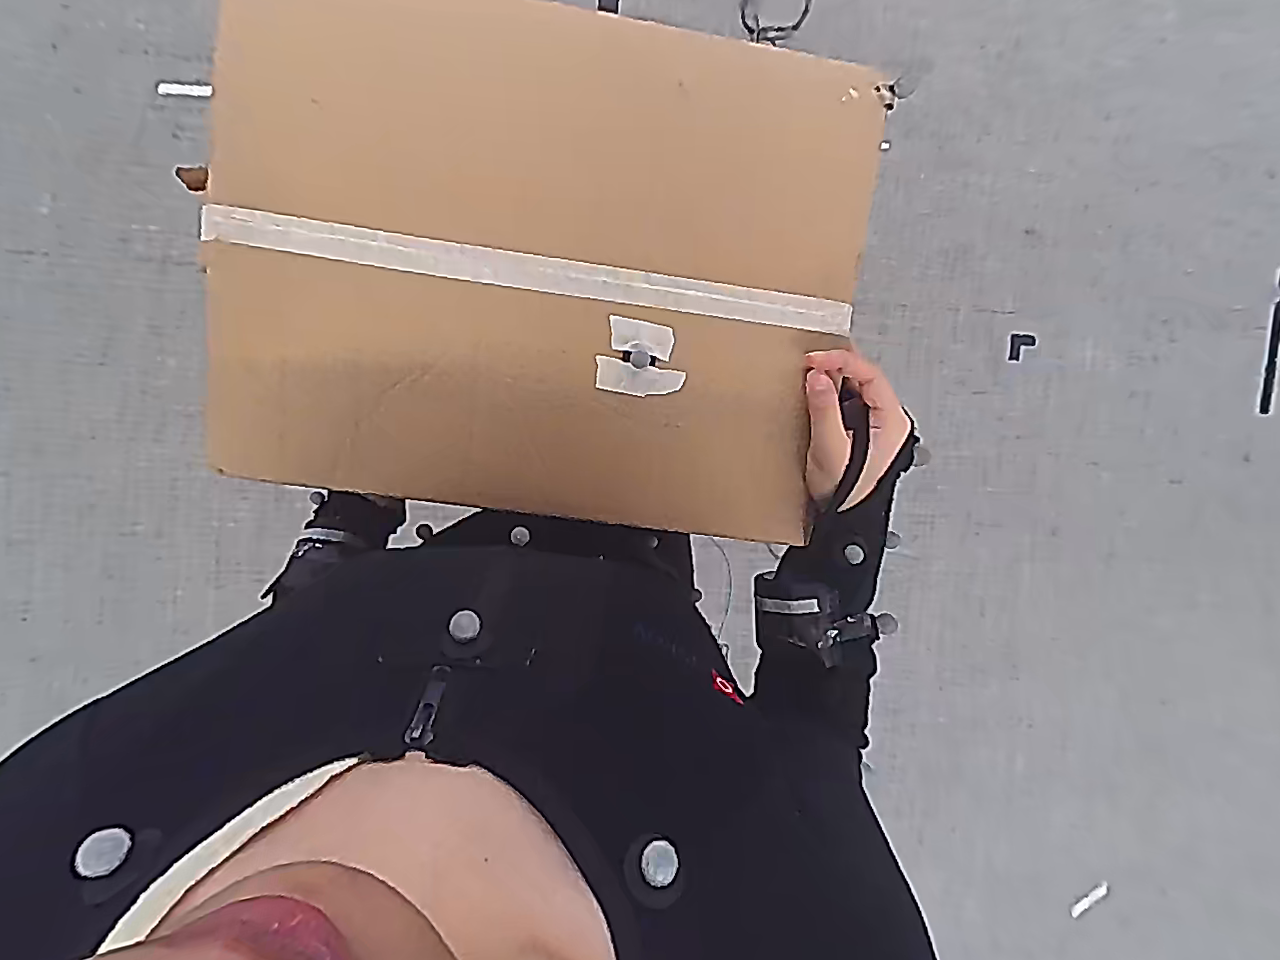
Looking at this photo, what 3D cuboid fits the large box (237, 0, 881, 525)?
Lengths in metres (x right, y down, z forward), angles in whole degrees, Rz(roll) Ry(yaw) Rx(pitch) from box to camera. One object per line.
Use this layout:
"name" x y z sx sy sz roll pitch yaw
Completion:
"large box" -0.066 -0.156 0.503 0.408 0.320 0.320 7 98 -6
